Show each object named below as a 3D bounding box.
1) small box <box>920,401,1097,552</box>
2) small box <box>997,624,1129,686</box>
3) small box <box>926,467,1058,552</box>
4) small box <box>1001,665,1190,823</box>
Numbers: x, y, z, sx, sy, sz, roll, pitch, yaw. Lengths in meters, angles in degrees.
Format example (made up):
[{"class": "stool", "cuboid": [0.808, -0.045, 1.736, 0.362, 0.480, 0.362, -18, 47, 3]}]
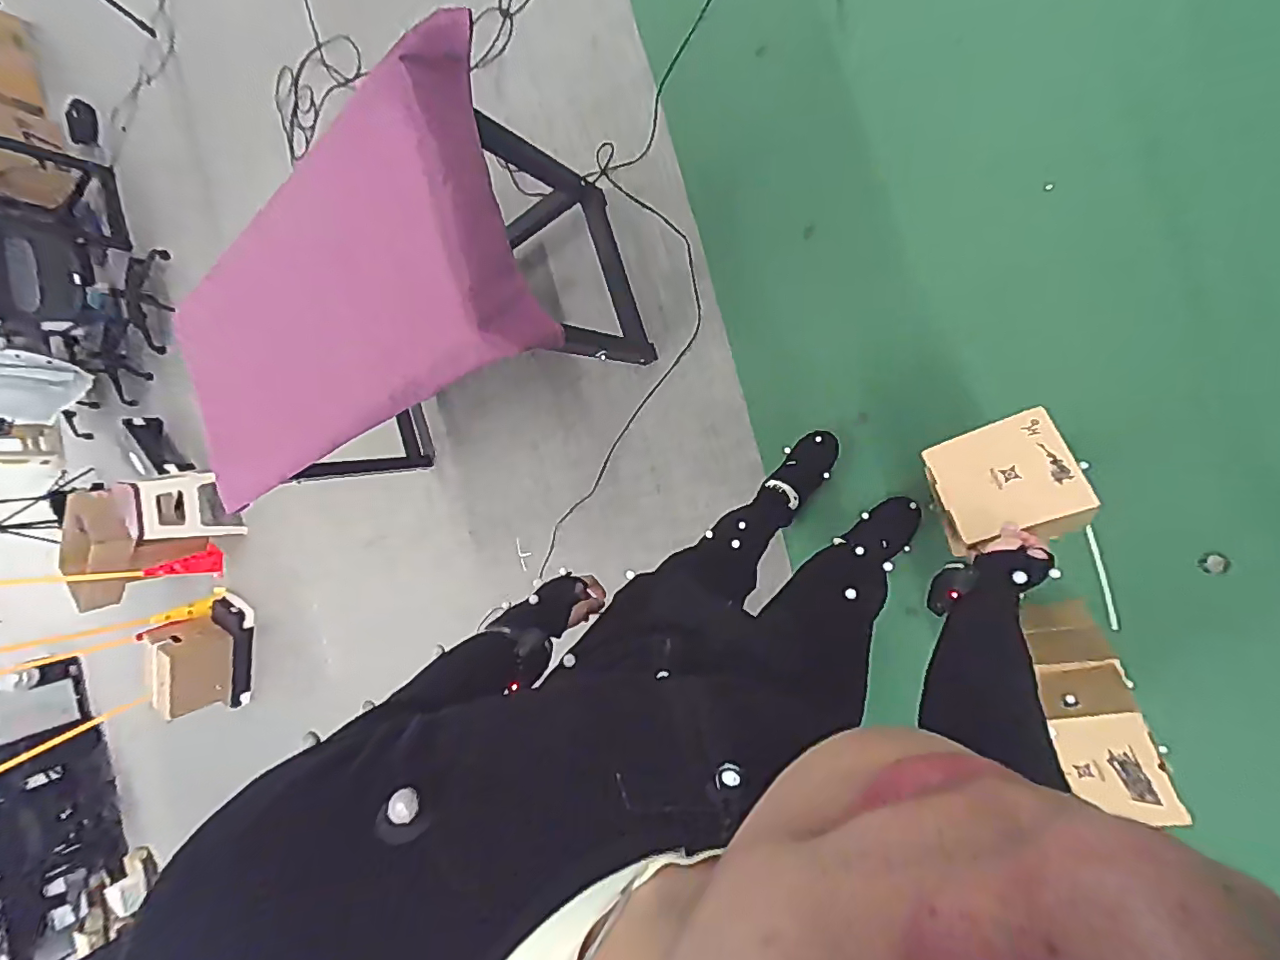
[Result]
[{"class": "small box", "cuboid": [0.578, 0.007, 0.859, 0.179, 0.176, 0.168, -25, 64, 27]}, {"class": "small box", "cuboid": [0.784, 0.379, 0.999, 0.179, 0.176, 0.168, -18, 88, 32]}, {"class": "small box", "cuboid": [0.660, 0.023, 1.031, 0.168, 0.176, 0.179, -19, 86, 31]}, {"class": "small box", "cuboid": [0.703, 0.412, 0.860, 0.179, 0.176, 0.168, -25, 84, 33]}]
